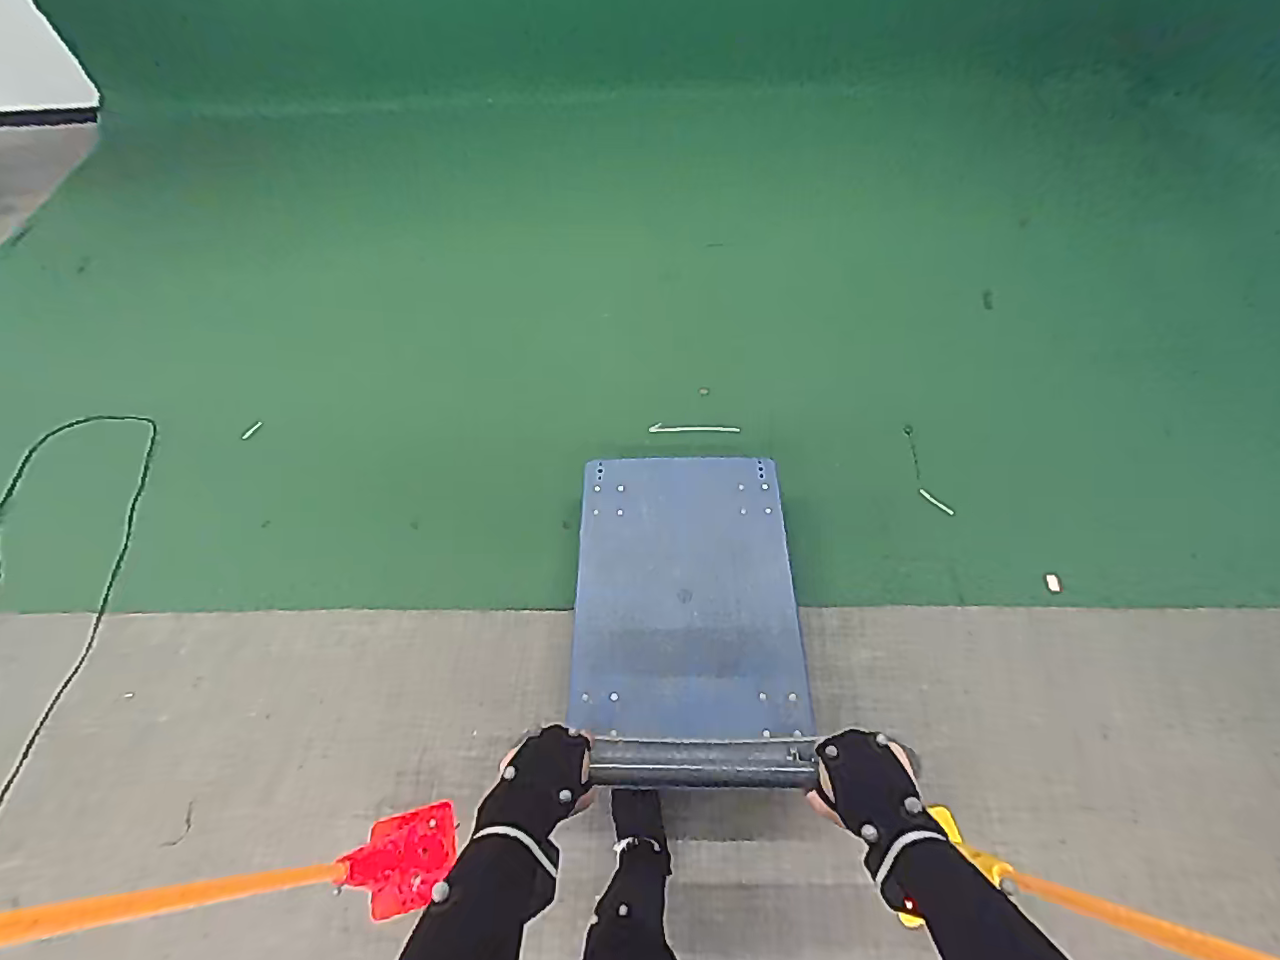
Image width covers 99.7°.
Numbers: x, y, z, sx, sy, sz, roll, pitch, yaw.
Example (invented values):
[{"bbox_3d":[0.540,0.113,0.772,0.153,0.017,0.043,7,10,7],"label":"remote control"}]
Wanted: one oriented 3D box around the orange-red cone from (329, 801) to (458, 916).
[{"bbox_3d":[-0.537,0.794,1.123,0.199,0.360,0.198,-14,58,-5],"label":"orange-red cone"}]
